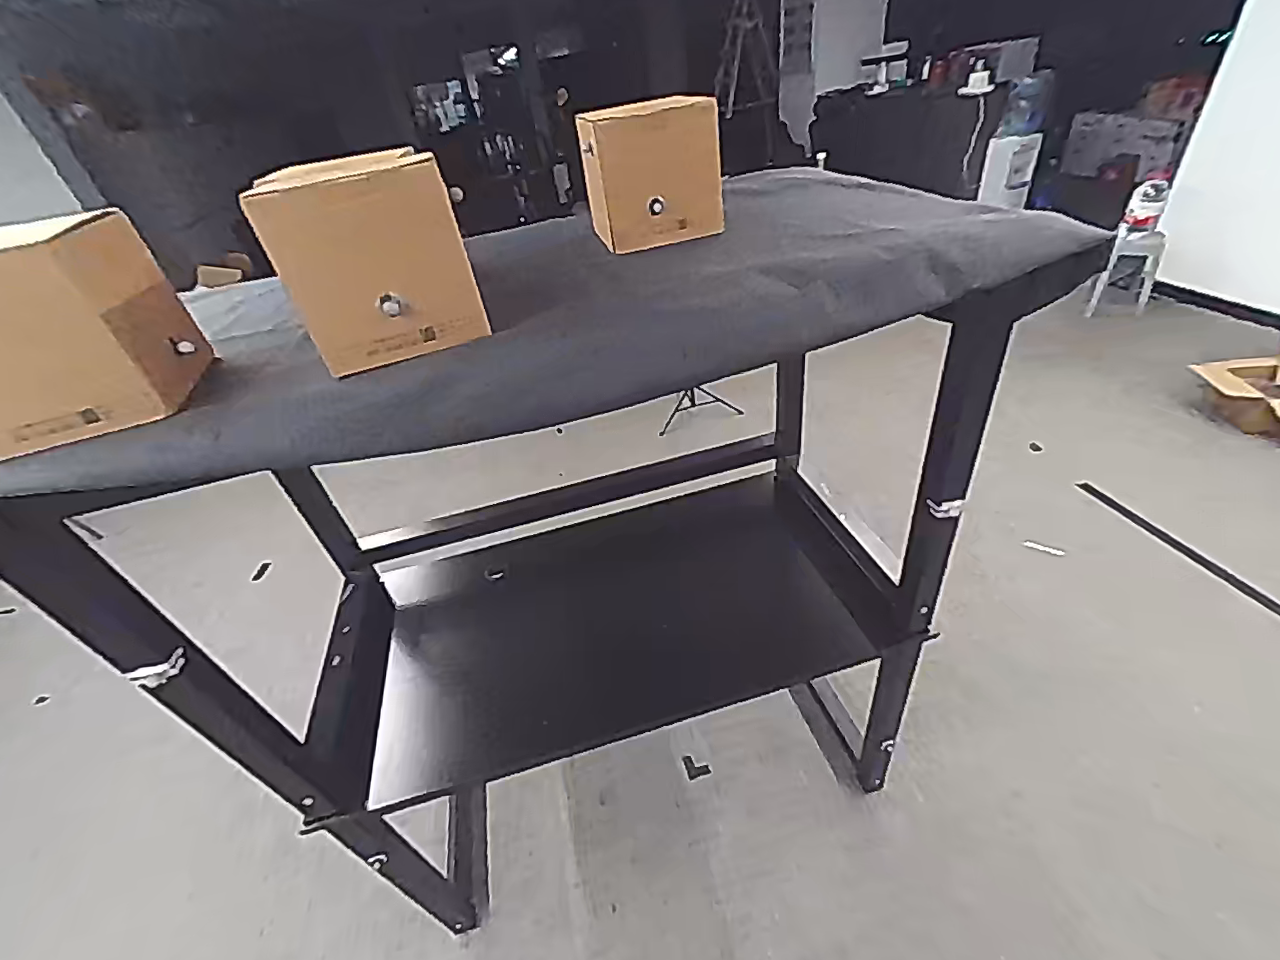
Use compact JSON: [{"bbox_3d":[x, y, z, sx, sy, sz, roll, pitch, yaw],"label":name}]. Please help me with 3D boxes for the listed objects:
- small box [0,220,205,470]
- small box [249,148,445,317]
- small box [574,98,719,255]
[{"bbox_3d":[-0.569,-0.133,0.520,0.168,0.176,0.179,-19,38,-12],"label":"small box"},{"bbox_3d":[-0.380,-0.336,0.743,0.168,0.176,0.179,-13,38,-5],"label":"small box"},{"bbox_3d":[0.009,-0.446,0.795,0.168,0.176,0.179,-15,38,-6],"label":"small box"}]
